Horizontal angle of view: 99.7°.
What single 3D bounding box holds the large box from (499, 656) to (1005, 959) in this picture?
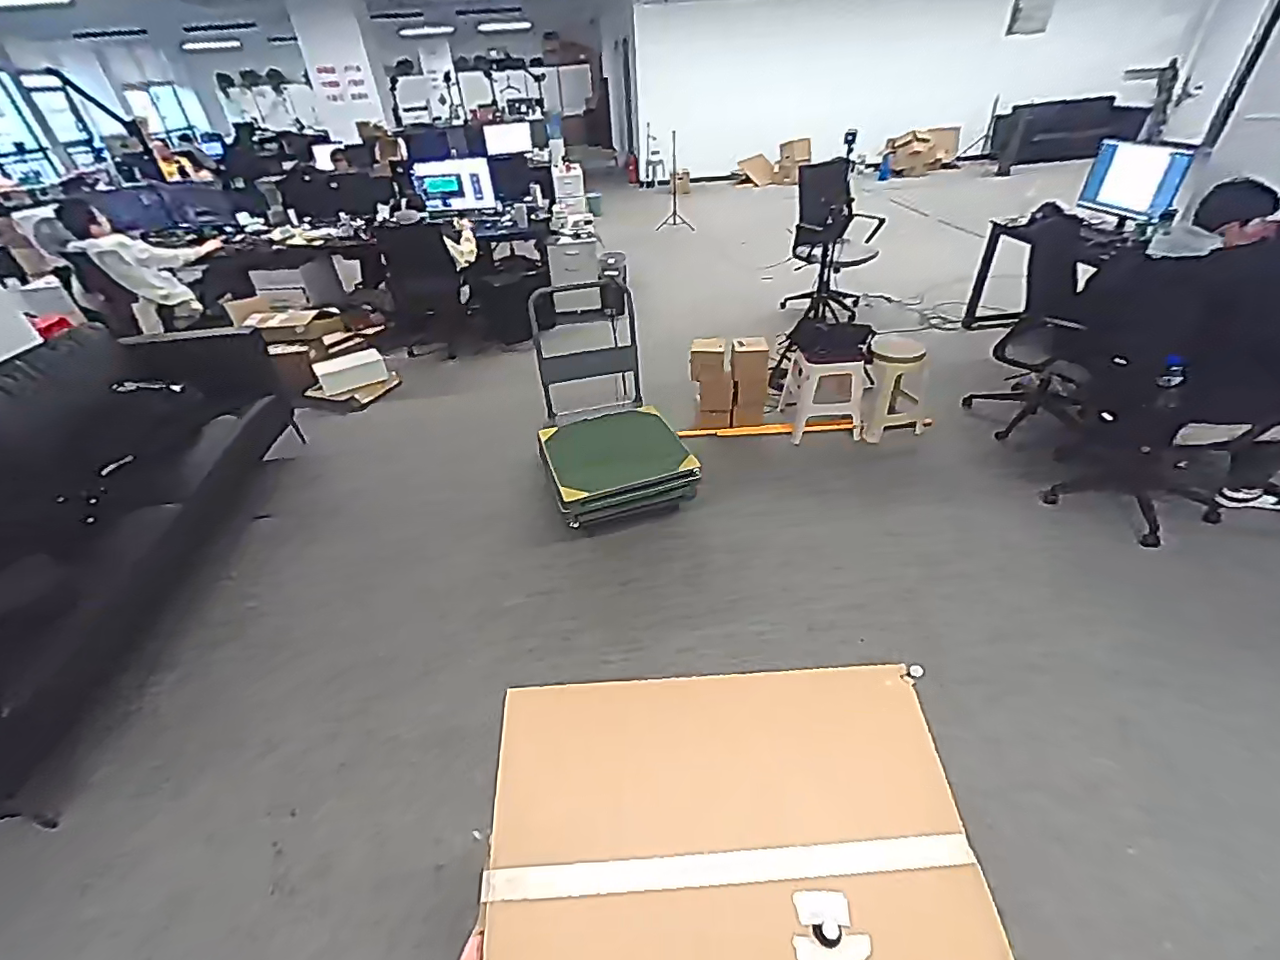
[{"bbox_3d":[0.082,0.409,0.583,0.408,0.320,0.320,-4,54,-2],"label":"large box"}]
